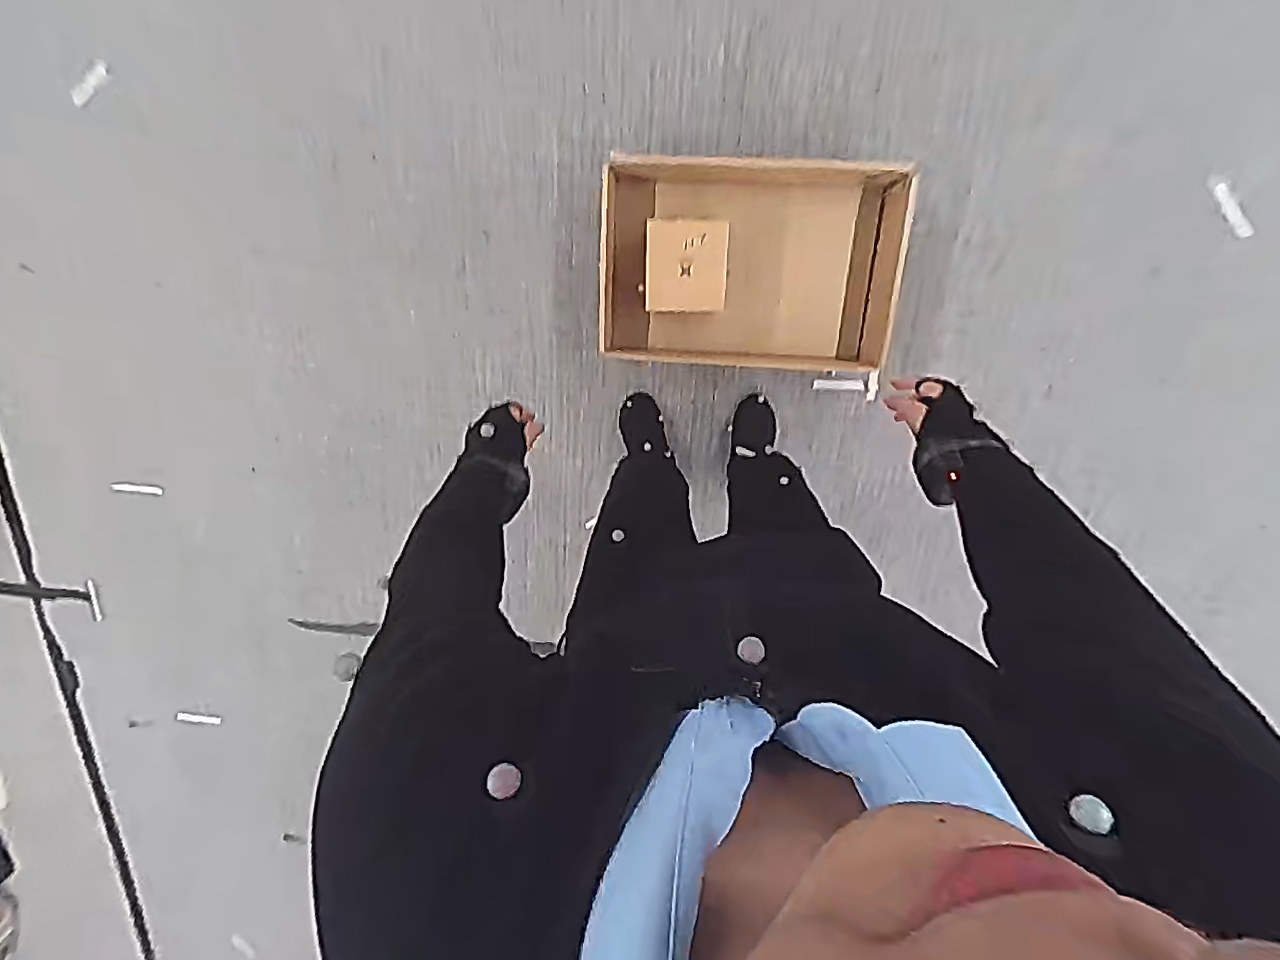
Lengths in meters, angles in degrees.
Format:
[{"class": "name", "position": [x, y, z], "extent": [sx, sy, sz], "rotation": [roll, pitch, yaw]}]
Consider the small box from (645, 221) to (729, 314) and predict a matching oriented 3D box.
[{"class": "small box", "position": [0.098, -0.455, 1.176], "extent": [0.168, 0.176, 0.179], "rotation": [2, 107, 2]}]
